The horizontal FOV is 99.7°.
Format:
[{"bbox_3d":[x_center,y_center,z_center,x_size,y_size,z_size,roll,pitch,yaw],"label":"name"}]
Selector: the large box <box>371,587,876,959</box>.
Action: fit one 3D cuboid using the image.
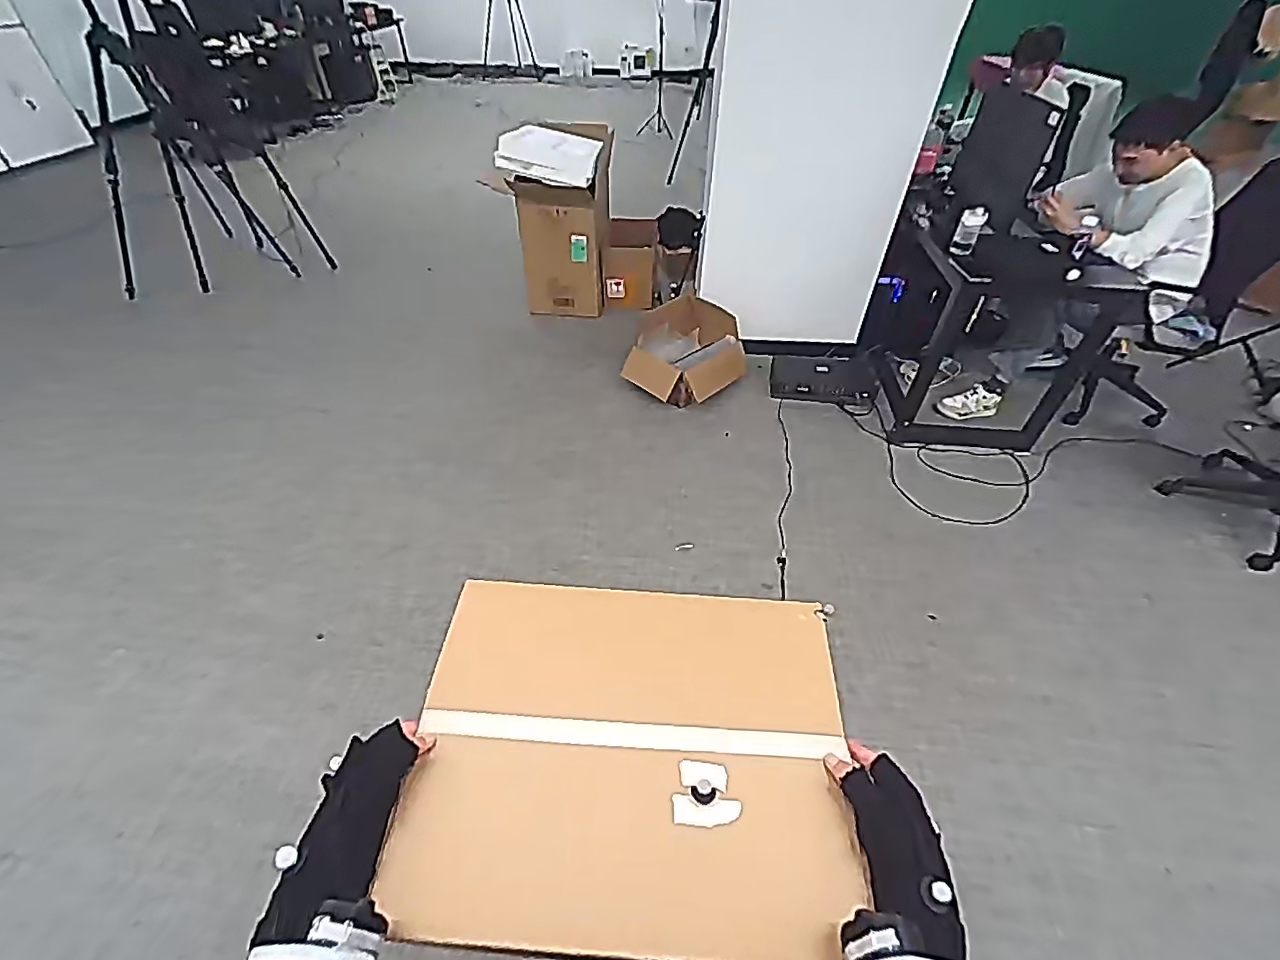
[{"bbox_3d":[-0.012,0.347,0.625,0.408,0.320,0.320,4,48,1],"label":"large box"}]
